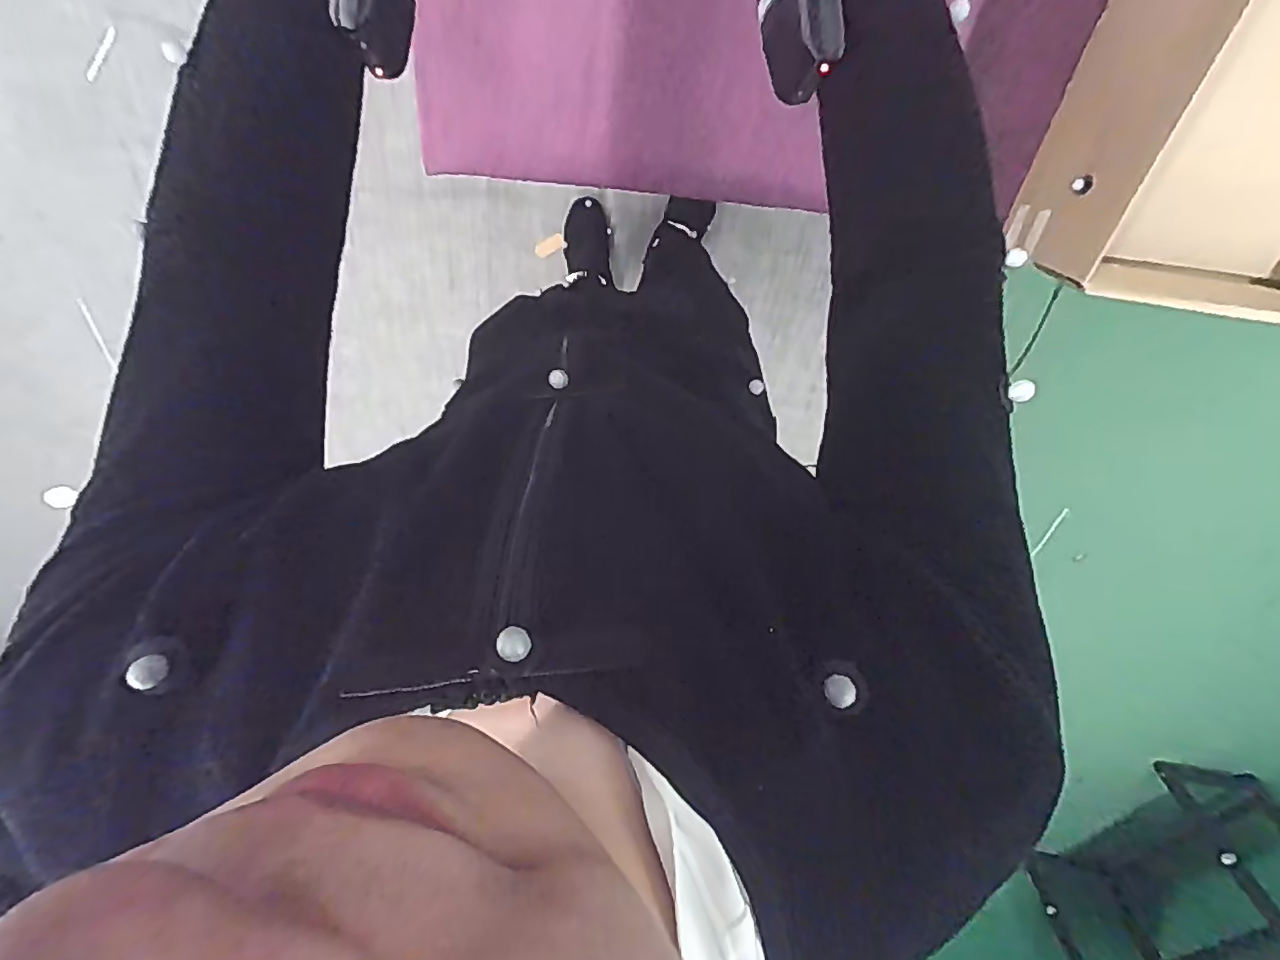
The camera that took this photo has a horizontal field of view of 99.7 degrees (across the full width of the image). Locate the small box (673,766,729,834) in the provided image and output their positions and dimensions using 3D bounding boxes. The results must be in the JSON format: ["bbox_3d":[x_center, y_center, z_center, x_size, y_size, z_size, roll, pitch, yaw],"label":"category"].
[{"bbox_3d":[0.226,1.200,2.034,0.179,0.176,0.168,-13,124,11],"label":"small box"}]

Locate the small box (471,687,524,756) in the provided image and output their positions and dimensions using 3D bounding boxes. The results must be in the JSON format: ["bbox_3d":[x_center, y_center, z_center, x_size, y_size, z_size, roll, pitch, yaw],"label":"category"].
[{"bbox_3d":[-0.547,0.917,2.061,0.168,0.176,0.179,13,124,-7],"label":"small box"}]
